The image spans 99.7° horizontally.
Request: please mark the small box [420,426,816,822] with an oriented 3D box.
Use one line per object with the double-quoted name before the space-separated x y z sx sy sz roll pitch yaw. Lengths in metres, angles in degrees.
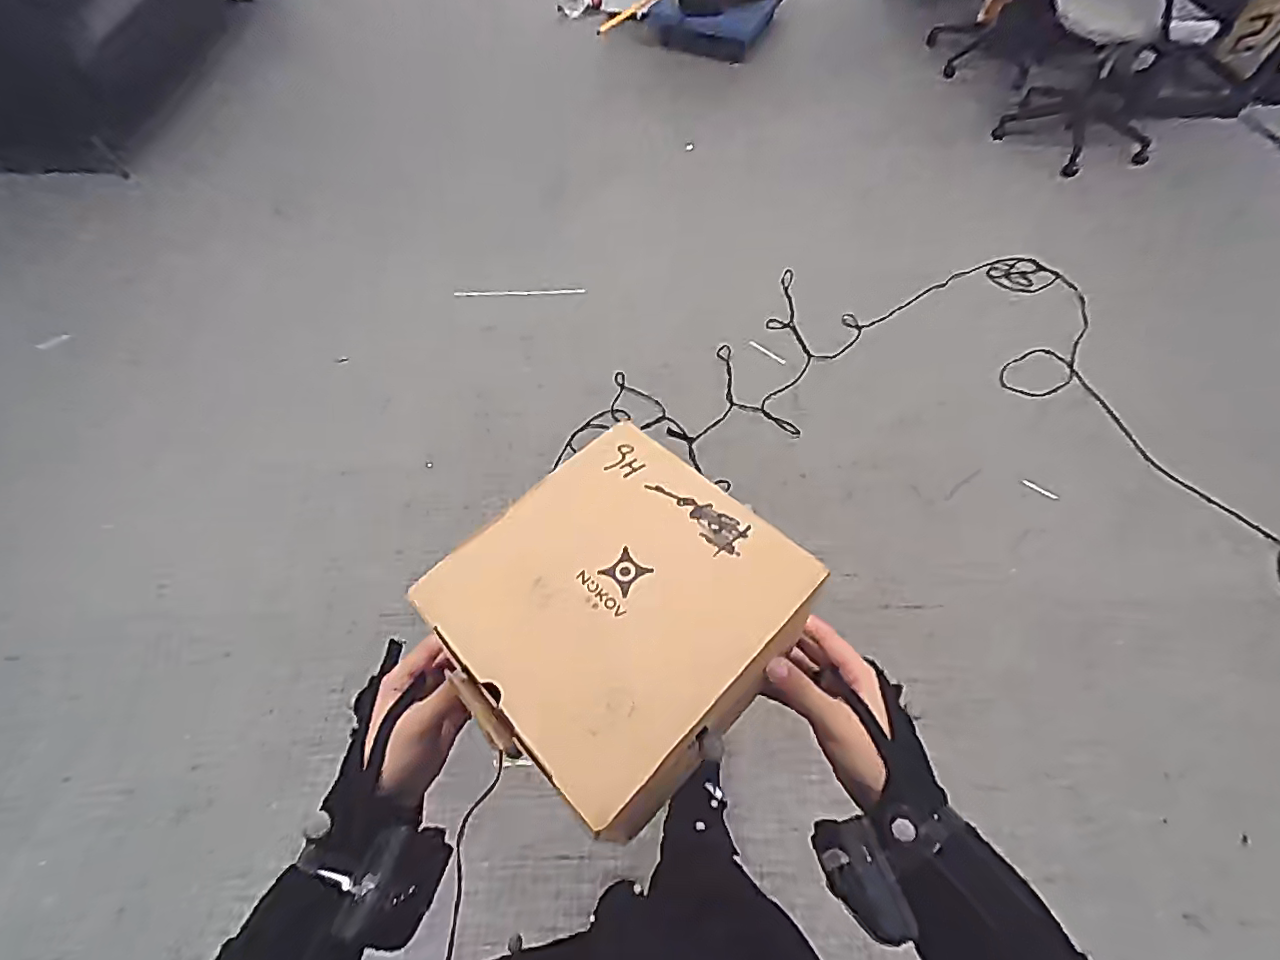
"small box" -0.007 0.104 0.375 0.179 0.176 0.168 -41 61 -21
